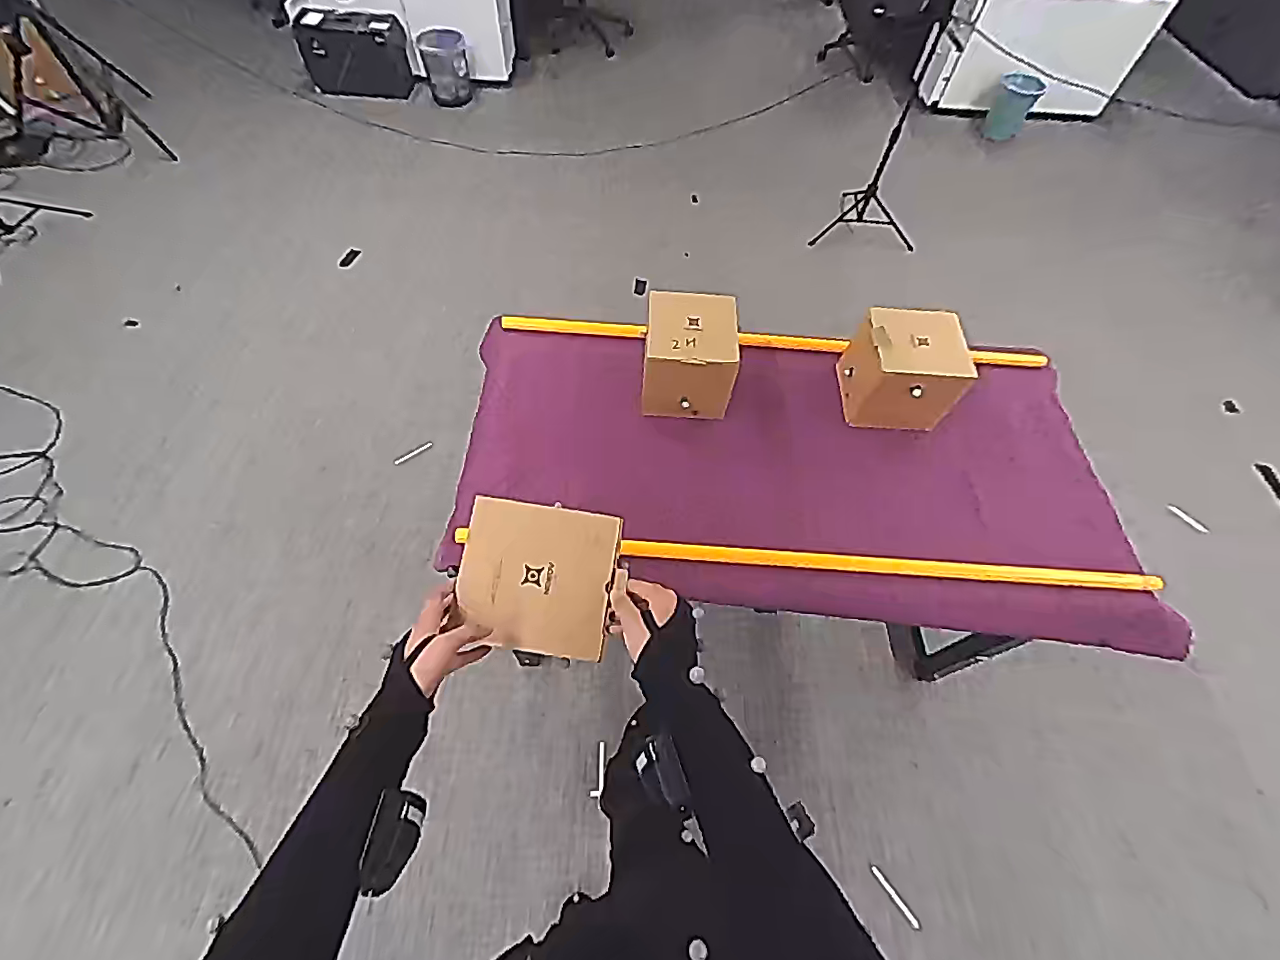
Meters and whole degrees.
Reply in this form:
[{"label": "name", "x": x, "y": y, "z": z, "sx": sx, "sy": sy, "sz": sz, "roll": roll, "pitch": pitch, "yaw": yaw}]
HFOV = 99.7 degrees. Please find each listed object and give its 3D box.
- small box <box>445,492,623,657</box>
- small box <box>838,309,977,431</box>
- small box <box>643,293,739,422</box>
[{"label": "small box", "x": -0.122, "y": 0.125, "z": 0.691, "sx": 0.179, "sy": 0.176, "sz": 0.168, "roll": 9, "pitch": 74, "yaw": -1}, {"label": "small box", "x": 0.516, "y": -0.212, "z": 1.070, "sx": 0.179, "sy": 0.176, "sz": 0.168, "roll": 3, "pitch": 60, "yaw": 0}, {"label": "small box", "x": 0.095, "y": -0.238, "z": 1.063, "sx": 0.168, "sy": 0.176, "sz": 0.179, "roll": 3, "pitch": 60, "yaw": -1}]
